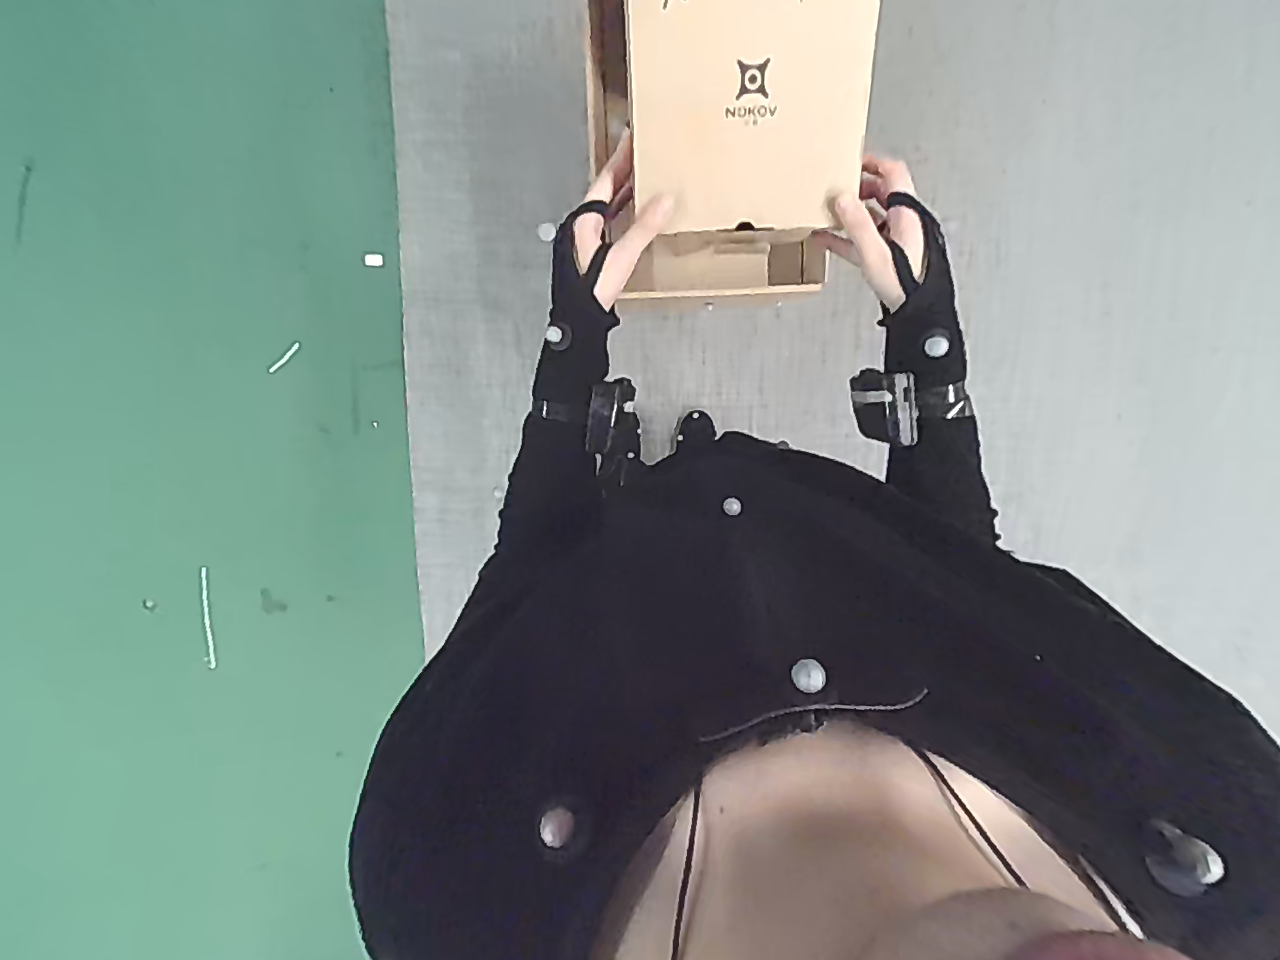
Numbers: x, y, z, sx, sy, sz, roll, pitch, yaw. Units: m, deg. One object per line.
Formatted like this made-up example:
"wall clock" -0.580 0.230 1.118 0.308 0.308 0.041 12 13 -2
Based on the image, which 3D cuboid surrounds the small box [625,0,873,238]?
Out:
"small box" 0.072 -0.305 0.452 0.168 0.176 0.179 -2 117 -1
